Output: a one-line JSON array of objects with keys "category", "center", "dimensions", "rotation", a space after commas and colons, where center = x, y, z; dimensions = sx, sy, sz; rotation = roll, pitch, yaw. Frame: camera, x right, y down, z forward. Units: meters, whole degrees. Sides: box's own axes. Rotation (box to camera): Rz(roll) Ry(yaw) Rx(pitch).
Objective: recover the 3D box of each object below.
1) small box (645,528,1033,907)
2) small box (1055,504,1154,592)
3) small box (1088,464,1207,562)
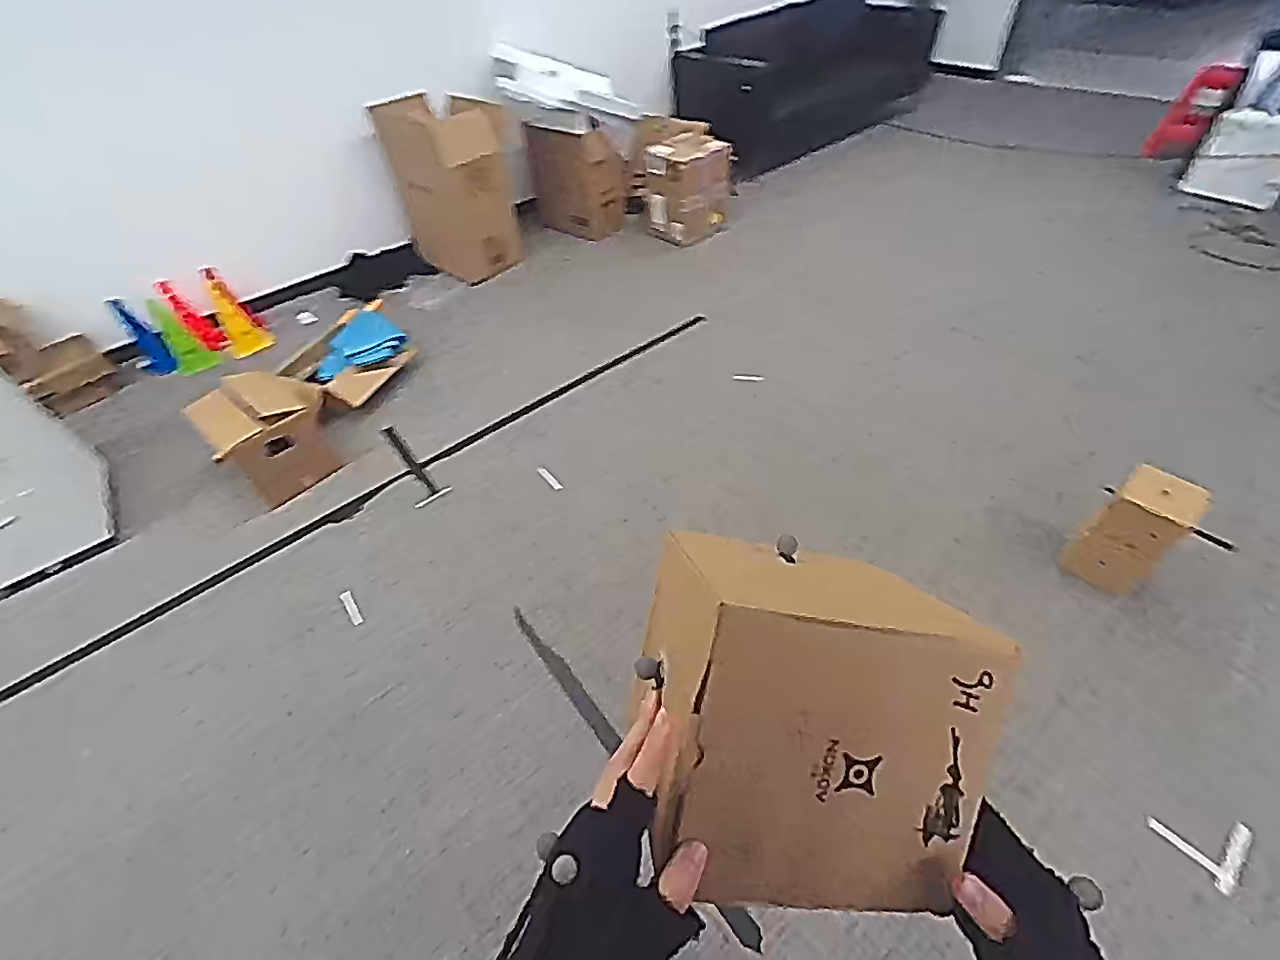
[{"category": "small box", "center": [0.105, 0.136, 0.368], "dimensions": [0.179, 0.168, 0.176], "rotation": [11, 6, -6]}, {"category": "small box", "center": [1.406, 0.211, 1.626], "dimensions": [0.179, 0.176, 0.168], "rotation": [31, 57, 31]}, {"category": "small box", "center": [1.407, 0.096, 1.511], "dimensions": [0.179, 0.176, 0.168], "rotation": [-37, 55, -27]}]
